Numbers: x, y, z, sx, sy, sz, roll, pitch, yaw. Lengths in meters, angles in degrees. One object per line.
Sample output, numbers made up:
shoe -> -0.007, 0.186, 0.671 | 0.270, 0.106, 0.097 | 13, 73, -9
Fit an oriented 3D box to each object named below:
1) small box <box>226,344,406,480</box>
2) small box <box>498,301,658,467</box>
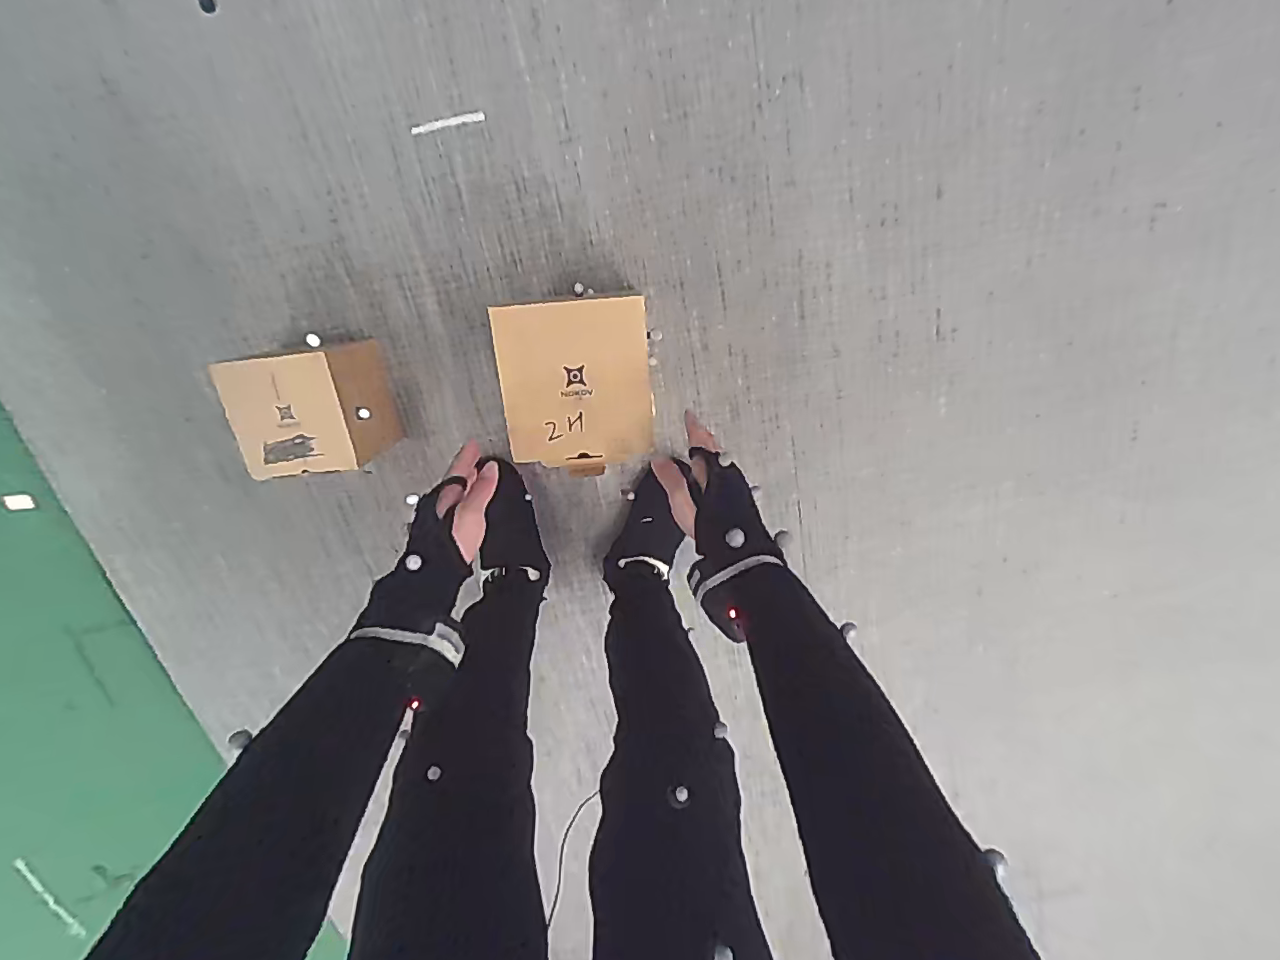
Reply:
small box -> -0.498, -0.114, 0.866 | 0.168, 0.176, 0.179 | -6, 110, 0
small box -> -0.066, -0.128, 0.672 | 0.168, 0.176, 0.179 | -3, 111, 2
